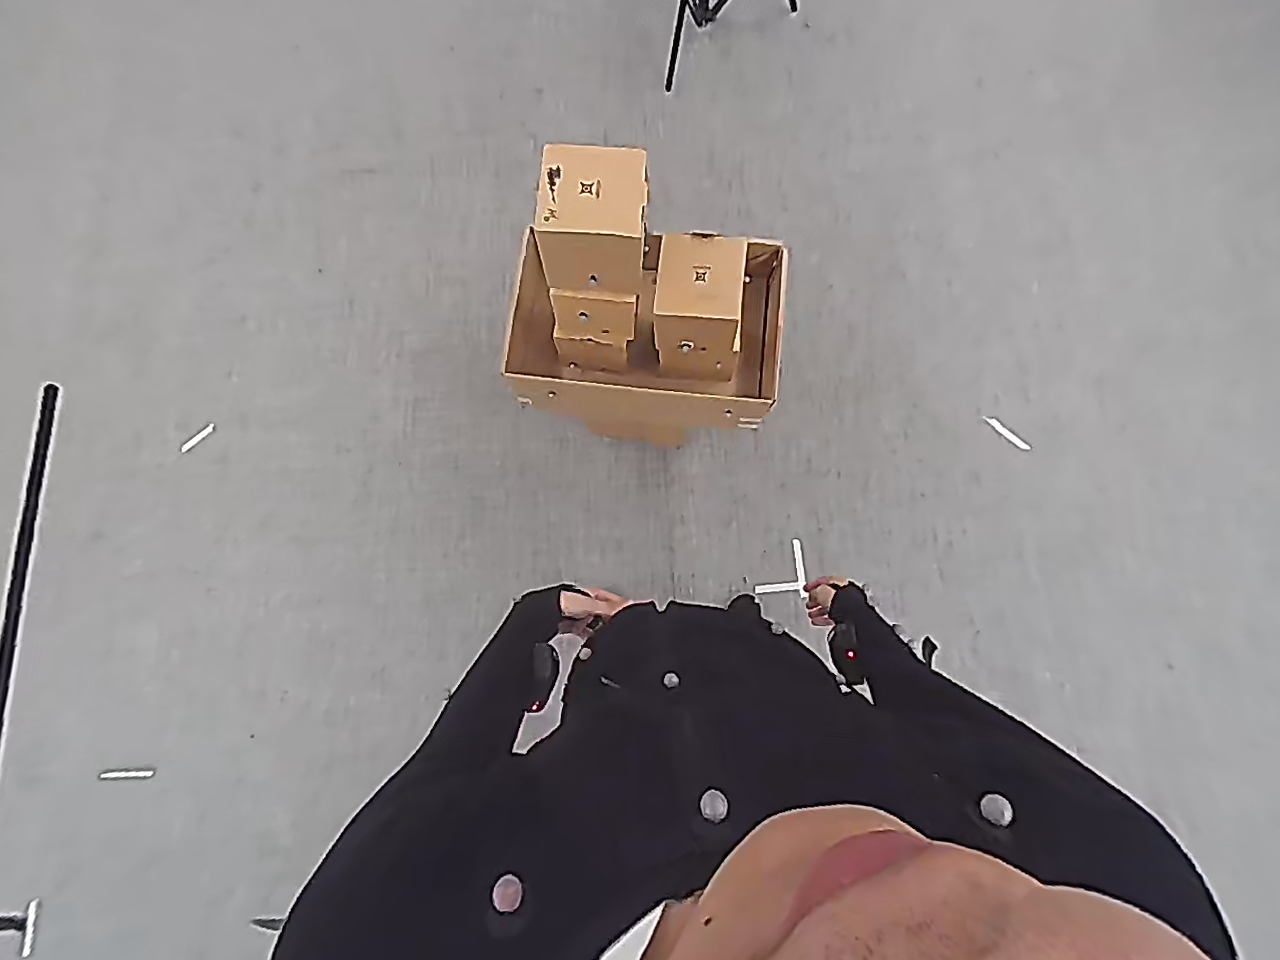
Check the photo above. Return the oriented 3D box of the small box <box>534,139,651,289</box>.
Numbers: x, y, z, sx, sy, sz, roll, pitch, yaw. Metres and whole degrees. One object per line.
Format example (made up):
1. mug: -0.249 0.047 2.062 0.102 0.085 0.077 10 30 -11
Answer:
1. small box: -0.079 -0.457 0.954 0.179 0.176 0.168 5 78 -1

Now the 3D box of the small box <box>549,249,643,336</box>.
1. small box: -0.082 -0.415 1.112 0.168 0.176 0.179 6 78 0

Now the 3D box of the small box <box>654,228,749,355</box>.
1. small box: 0.121 -0.376 1.096 0.168 0.176 0.179 6 79 5
